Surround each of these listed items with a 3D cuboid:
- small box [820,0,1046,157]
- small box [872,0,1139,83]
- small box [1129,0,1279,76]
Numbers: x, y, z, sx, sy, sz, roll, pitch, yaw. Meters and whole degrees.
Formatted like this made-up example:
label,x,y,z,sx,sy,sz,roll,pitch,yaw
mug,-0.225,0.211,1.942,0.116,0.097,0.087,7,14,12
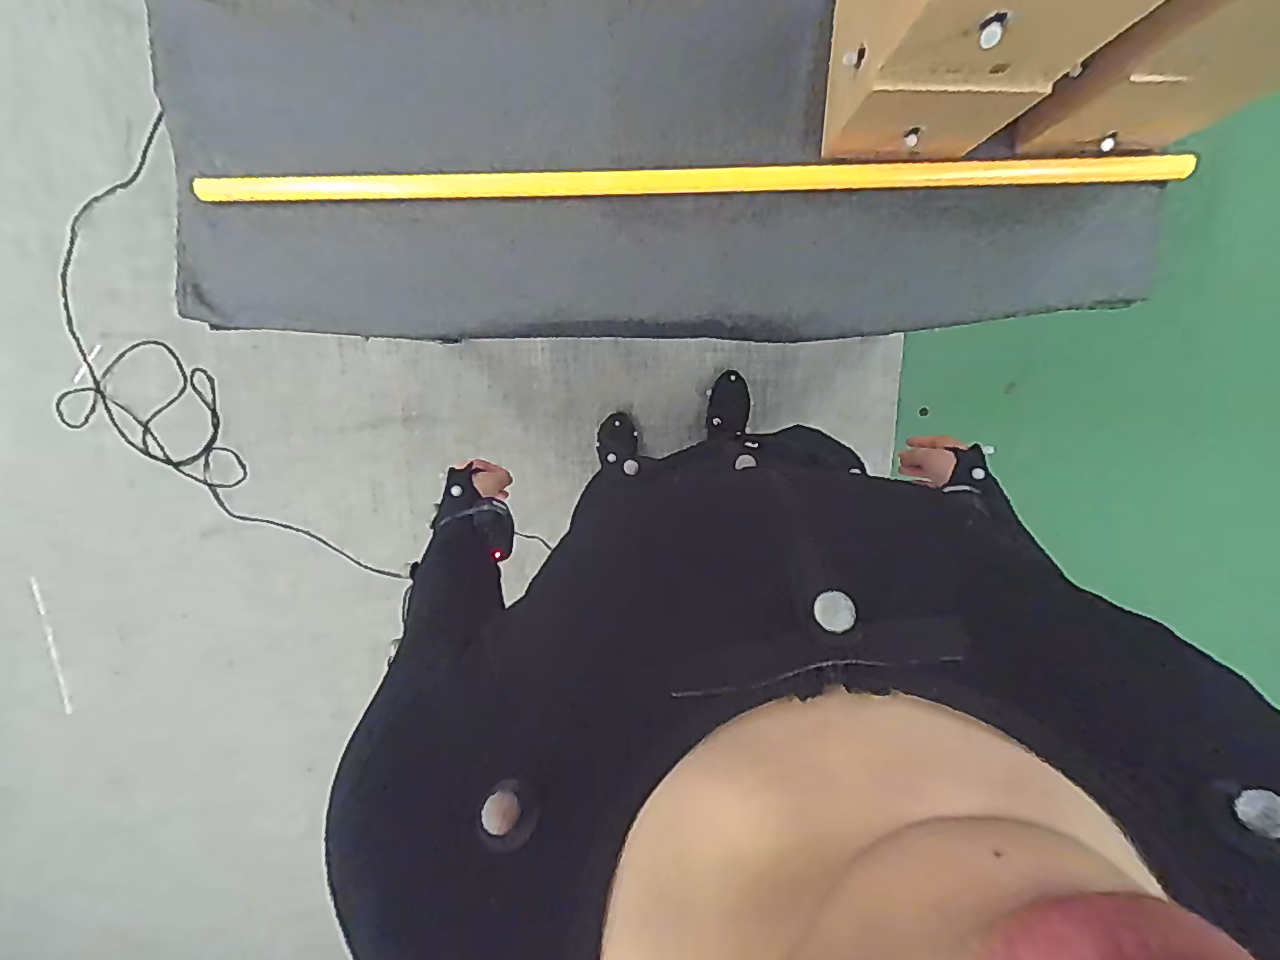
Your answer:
label,x,y,z,sx,sy,sz,roll,pitch,yaw
small box,0.295,-0.457,0.559,0.168,0.176,0.179,2,101,2
small box,0.287,-0.428,0.398,0.168,0.176,0.179,3,101,3
small box,0.517,-0.425,0.386,0.179,0.176,0.168,4,102,1
